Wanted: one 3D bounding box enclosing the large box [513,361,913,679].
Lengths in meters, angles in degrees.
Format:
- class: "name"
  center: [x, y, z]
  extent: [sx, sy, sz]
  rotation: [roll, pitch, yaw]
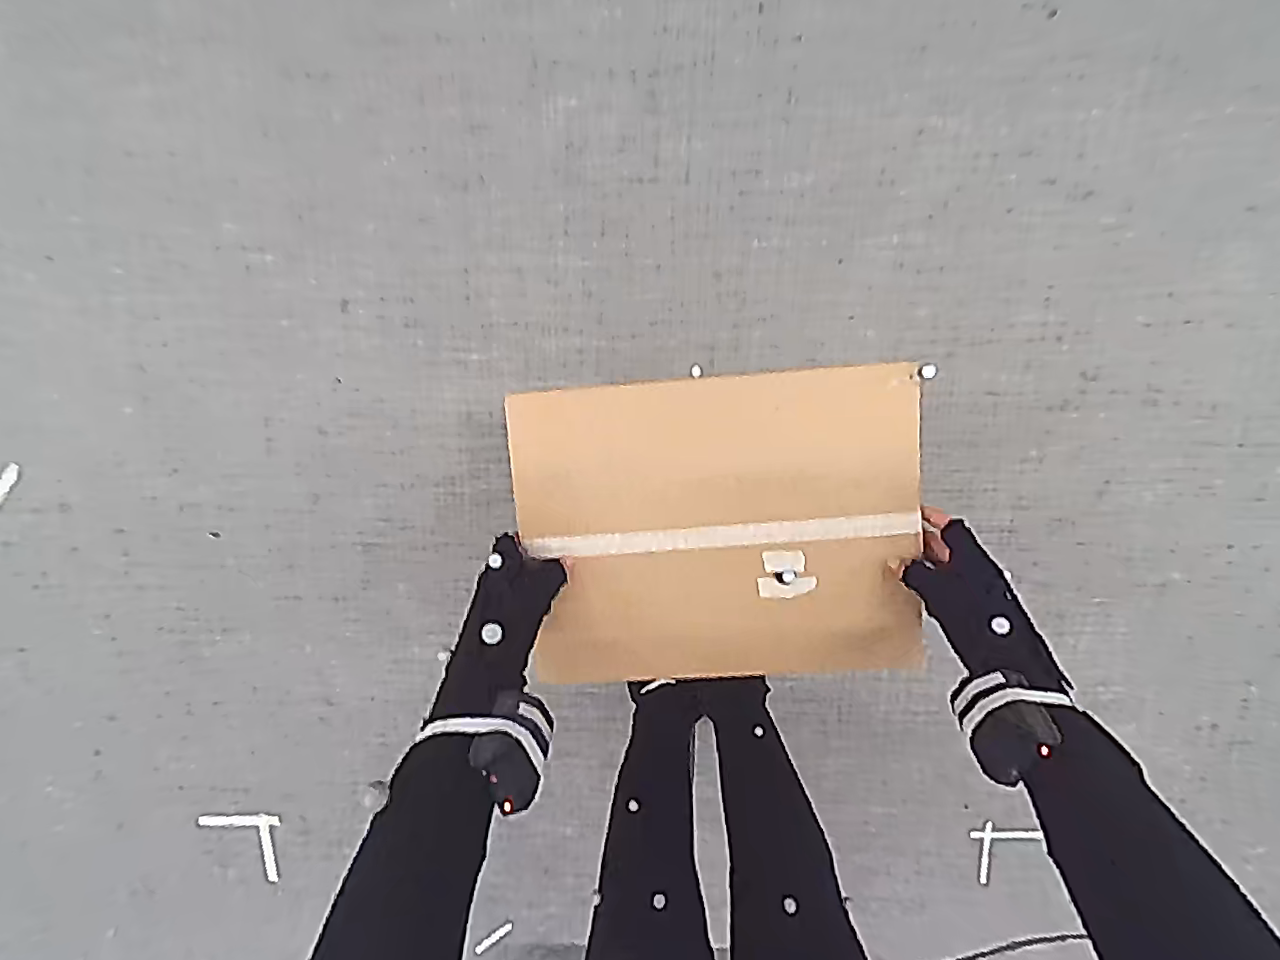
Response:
- class: "large box"
  center: [0.084, 0.030, 0.713]
  extent: [0.408, 0.320, 0.320]
  rotation: [-5, 99, 3]
